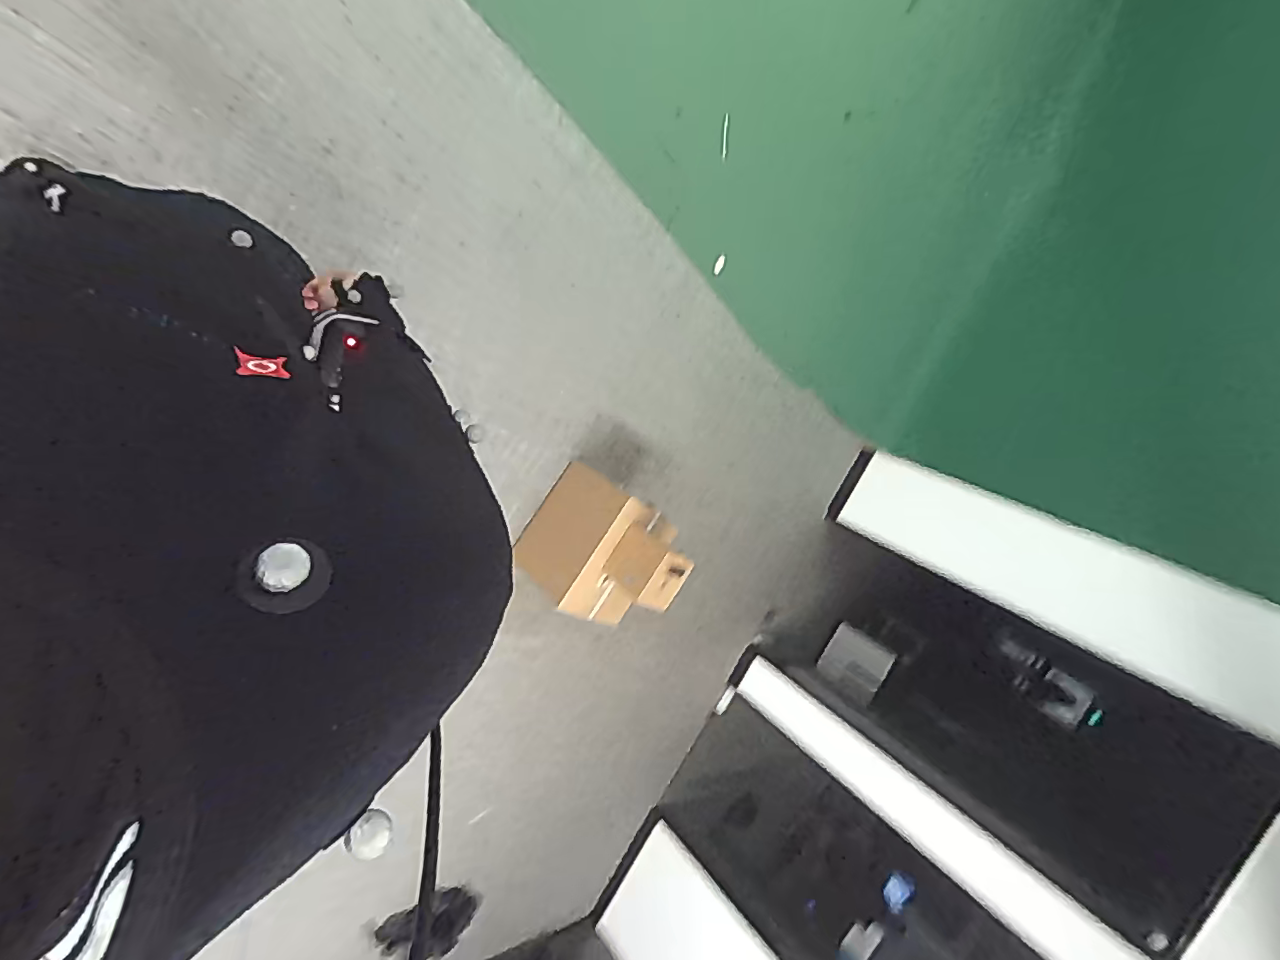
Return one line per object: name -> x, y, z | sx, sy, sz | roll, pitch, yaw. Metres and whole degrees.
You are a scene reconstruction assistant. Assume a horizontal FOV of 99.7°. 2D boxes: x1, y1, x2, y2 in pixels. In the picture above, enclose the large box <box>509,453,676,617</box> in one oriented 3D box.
large box -> -0.157, 0.184, 1.812 | 0.408, 0.320, 0.320 | -56, 139, 0
